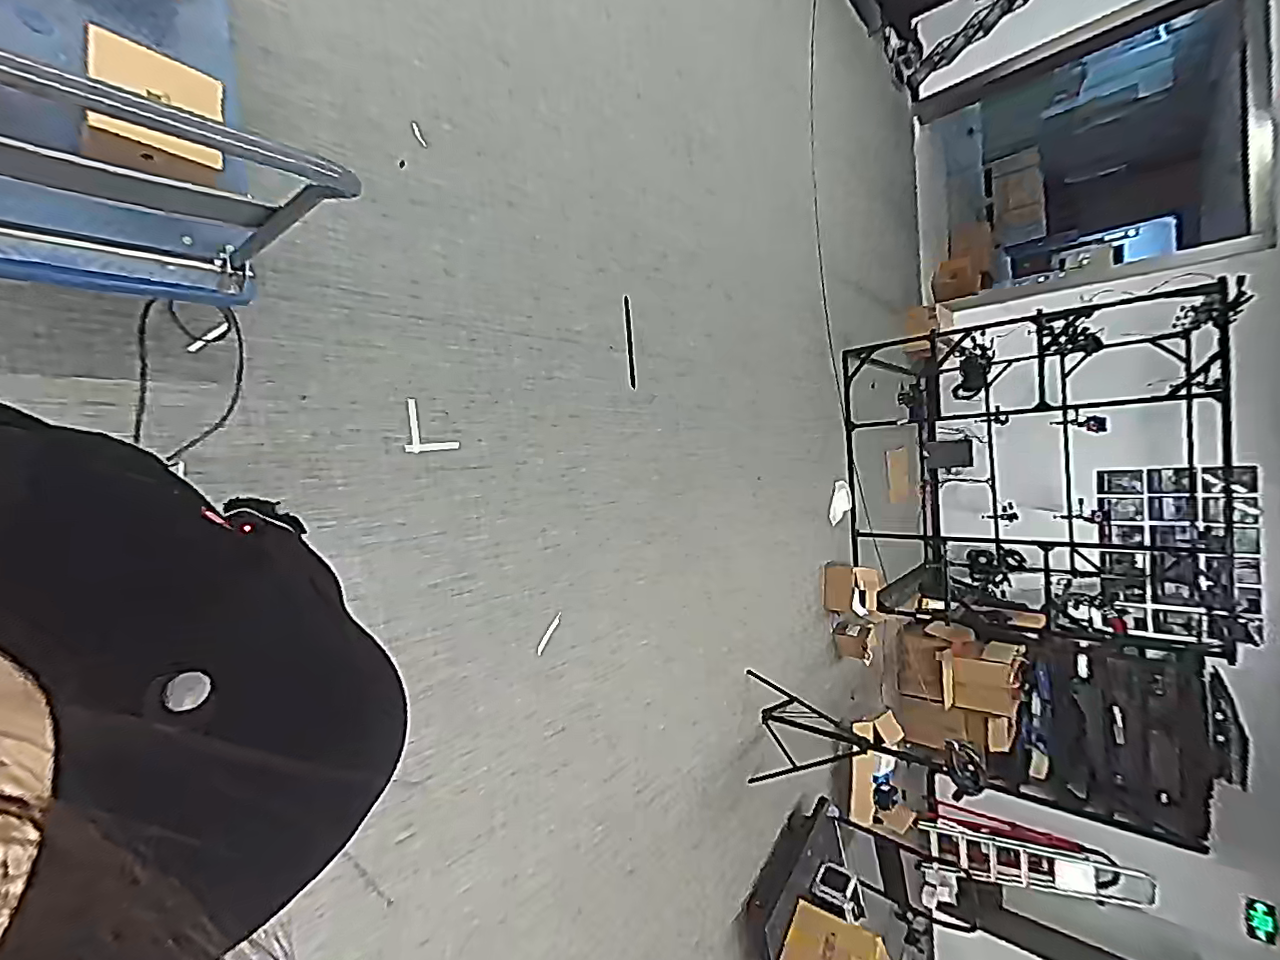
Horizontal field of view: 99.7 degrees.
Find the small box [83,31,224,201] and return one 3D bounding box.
[{"bbox_3d":[-0.881,-0.637,0.978,0.179,0.176,0.168,1,89,-49],"label":"small box"}]
